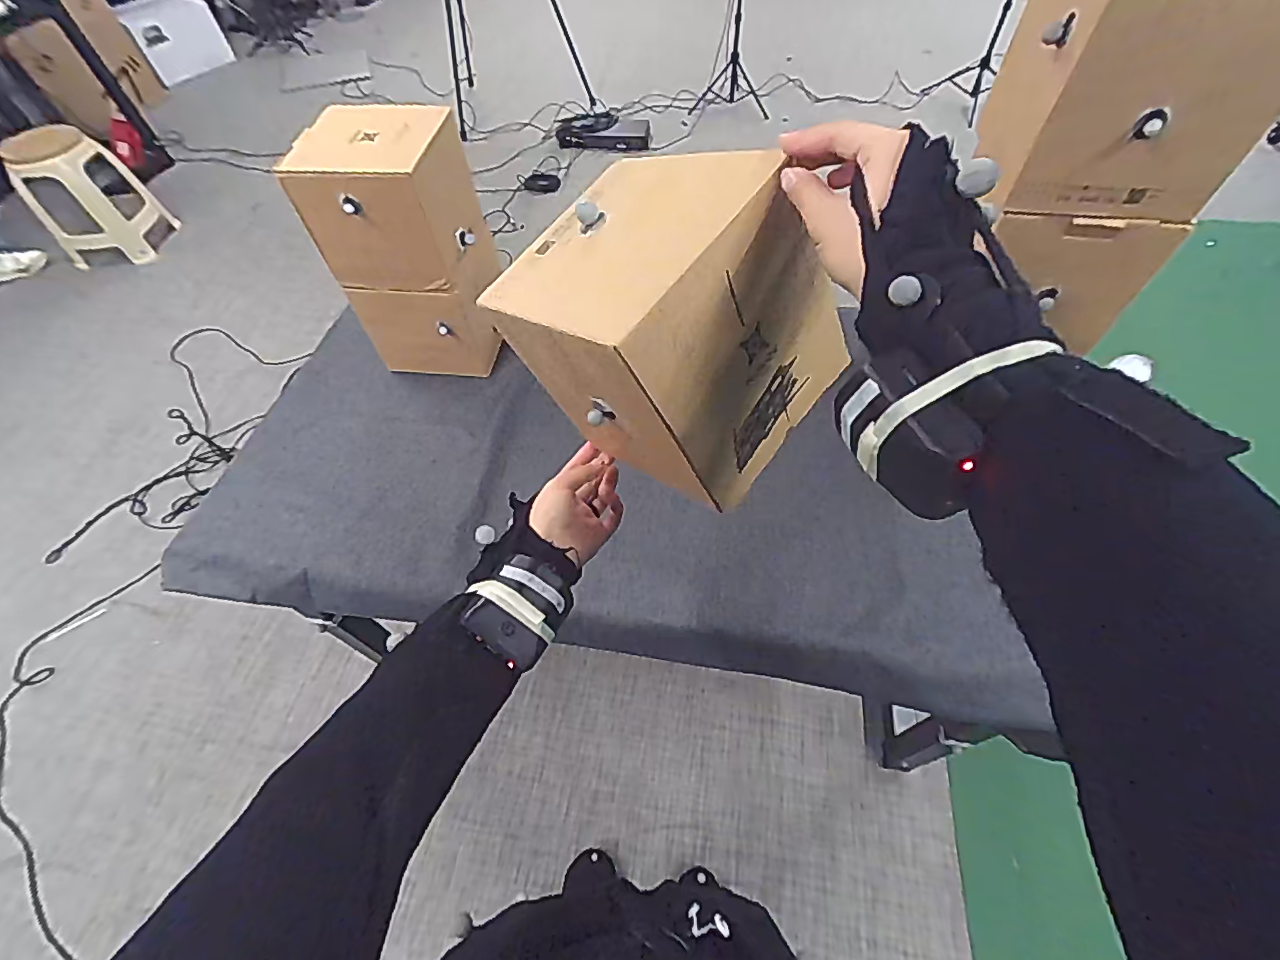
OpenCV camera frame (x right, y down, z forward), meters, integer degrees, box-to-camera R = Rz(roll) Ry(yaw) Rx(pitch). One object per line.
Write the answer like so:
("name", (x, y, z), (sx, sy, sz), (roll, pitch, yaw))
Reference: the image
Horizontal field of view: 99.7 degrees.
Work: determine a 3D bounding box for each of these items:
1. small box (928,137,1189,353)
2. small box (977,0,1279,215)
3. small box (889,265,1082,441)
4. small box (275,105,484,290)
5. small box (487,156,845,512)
("small box", (0.450, -0.269, 0.620), (0.168, 0.176, 0.179), (9, 58, 9))
("small box", (0.434, -0.362, 0.484), (0.168, 0.176, 0.179), (8, 57, 8))
("small box", (0.462, -0.181, 0.758), (0.168, 0.176, 0.179), (9, 58, 9))
("small box", (-0.335, -0.380, 0.738), (0.179, 0.176, 0.168), (4, 58, 4))
("small box", (0.023, -0.112, 0.410), (0.168, 0.179, 0.176), (-49, 45, -12))
